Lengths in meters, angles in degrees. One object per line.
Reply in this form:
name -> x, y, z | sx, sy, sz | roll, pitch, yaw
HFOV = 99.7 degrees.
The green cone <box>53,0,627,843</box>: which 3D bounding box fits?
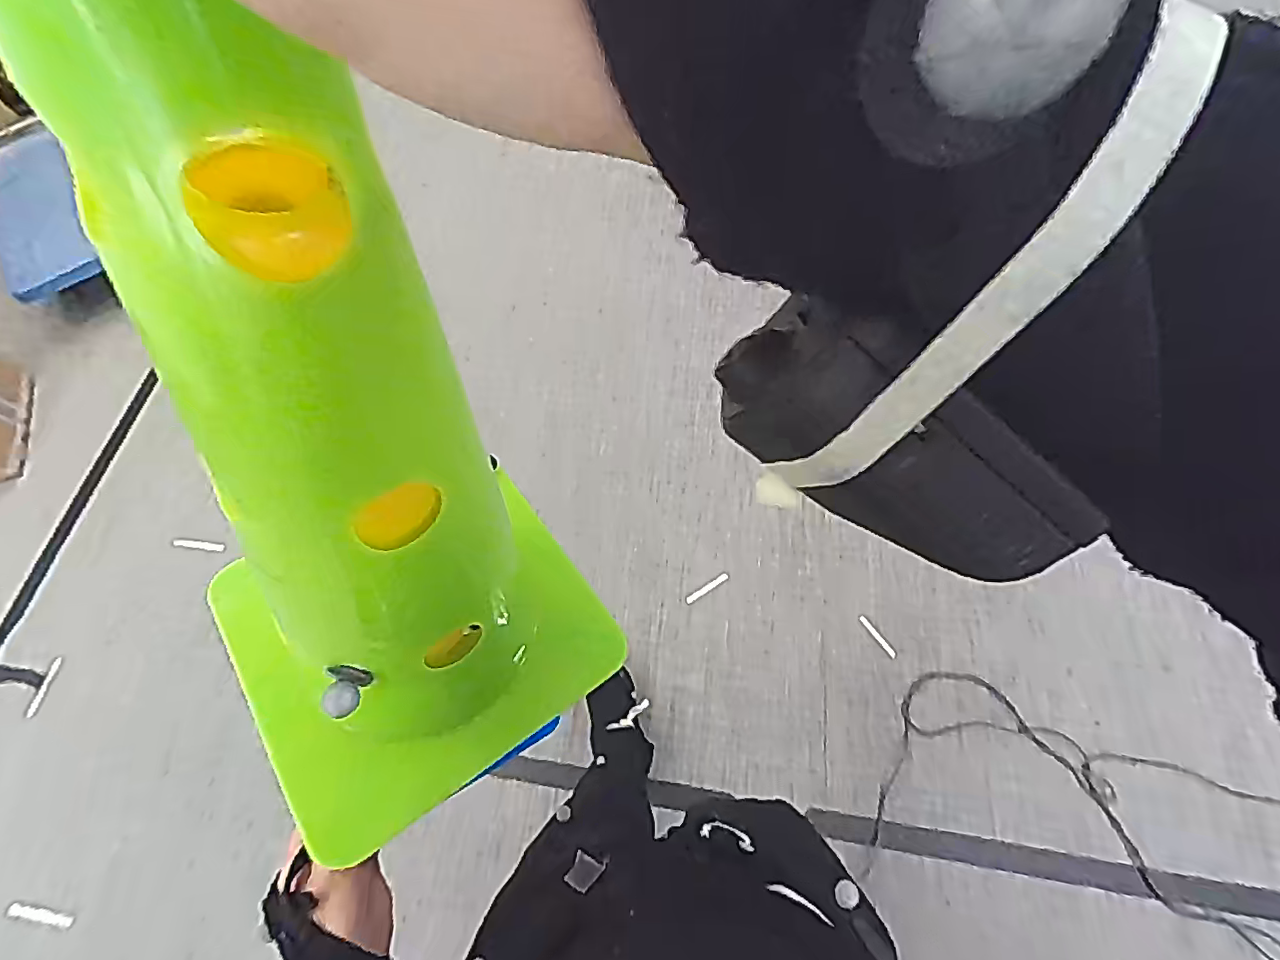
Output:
green cone -> -0.106, -0.022, 0.204 | 0.200, 0.368, 0.202 | -30, 66, -28
